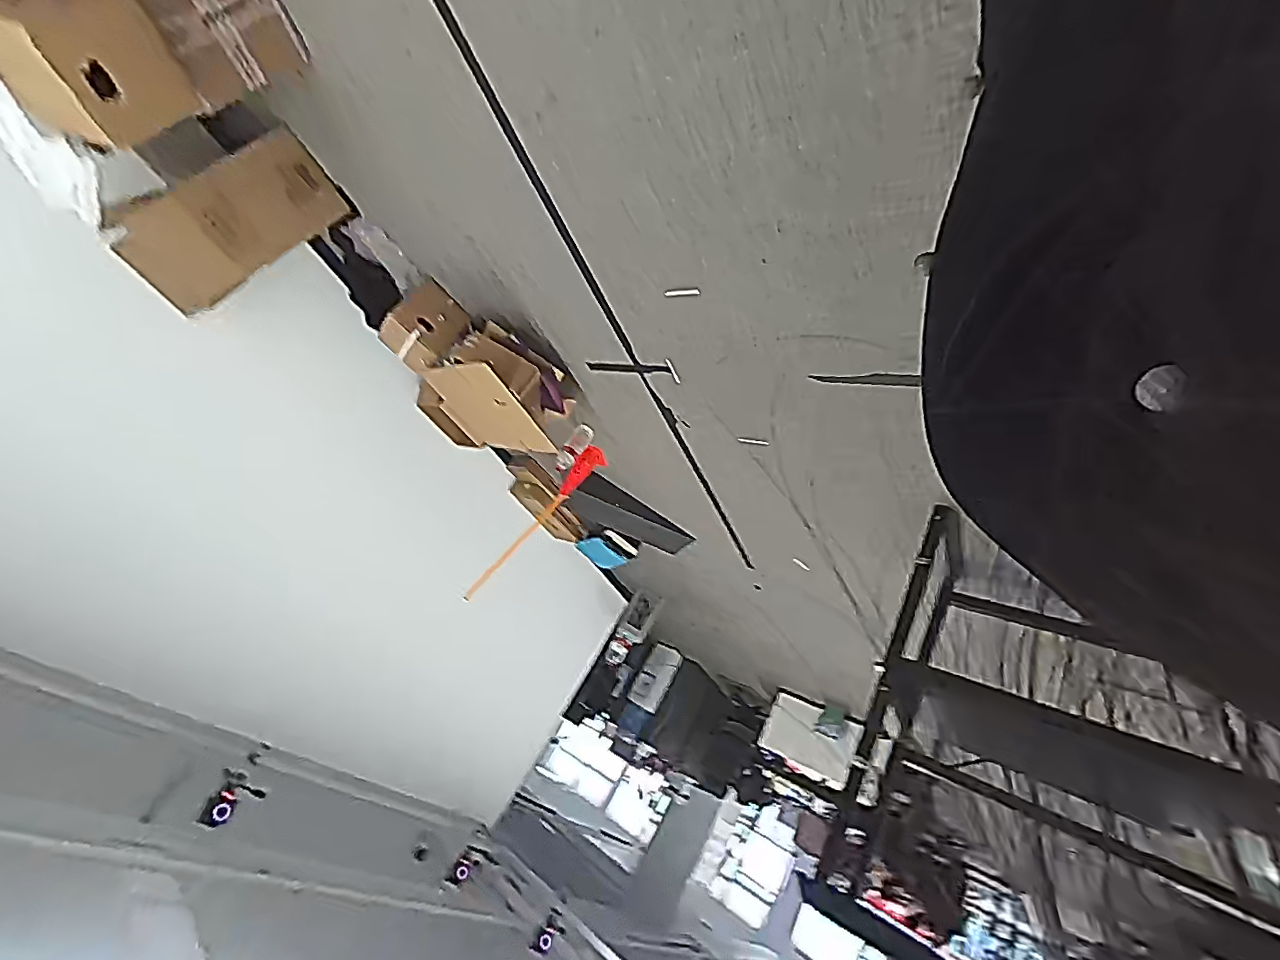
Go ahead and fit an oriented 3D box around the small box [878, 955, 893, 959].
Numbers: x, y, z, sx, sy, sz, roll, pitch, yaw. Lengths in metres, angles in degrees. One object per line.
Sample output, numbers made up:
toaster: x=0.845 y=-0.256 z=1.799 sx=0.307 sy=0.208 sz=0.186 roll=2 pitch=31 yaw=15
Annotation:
small box: x=0.699 y=1.400 z=1.425 sx=0.168 sy=0.176 sz=0.179 roll=11 pitch=148 yaw=37
